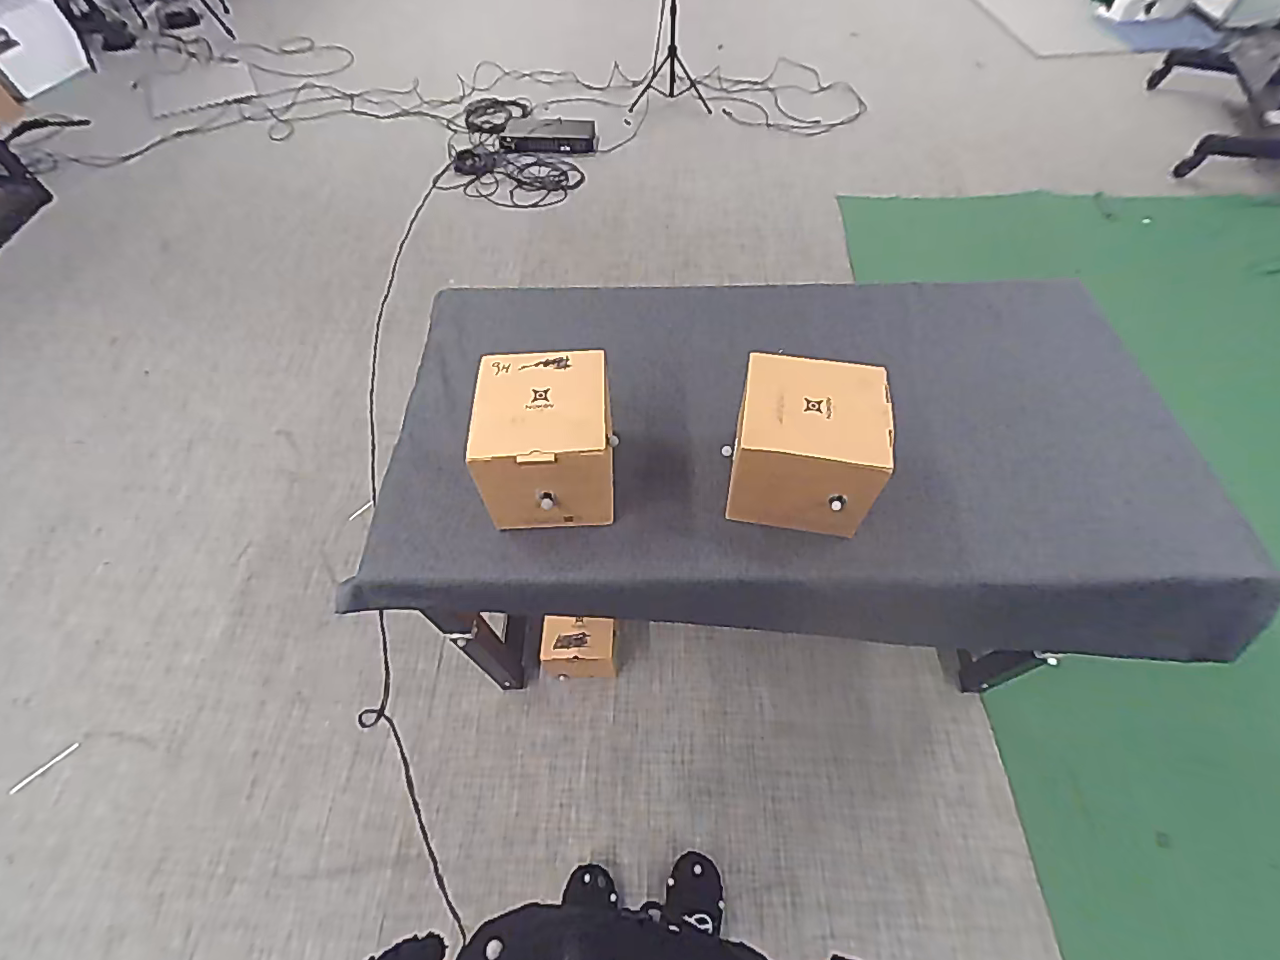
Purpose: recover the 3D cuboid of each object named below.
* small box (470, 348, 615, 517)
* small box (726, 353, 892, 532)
[{"bbox_3d":[-0.121,-0.058,0.745,0.168,0.176,0.179,-2,57,-1],"label":"small box"},{"bbox_3d":[0.220,-0.045,0.733,0.179,0.176,0.168,8,57,8],"label":"small box"}]
